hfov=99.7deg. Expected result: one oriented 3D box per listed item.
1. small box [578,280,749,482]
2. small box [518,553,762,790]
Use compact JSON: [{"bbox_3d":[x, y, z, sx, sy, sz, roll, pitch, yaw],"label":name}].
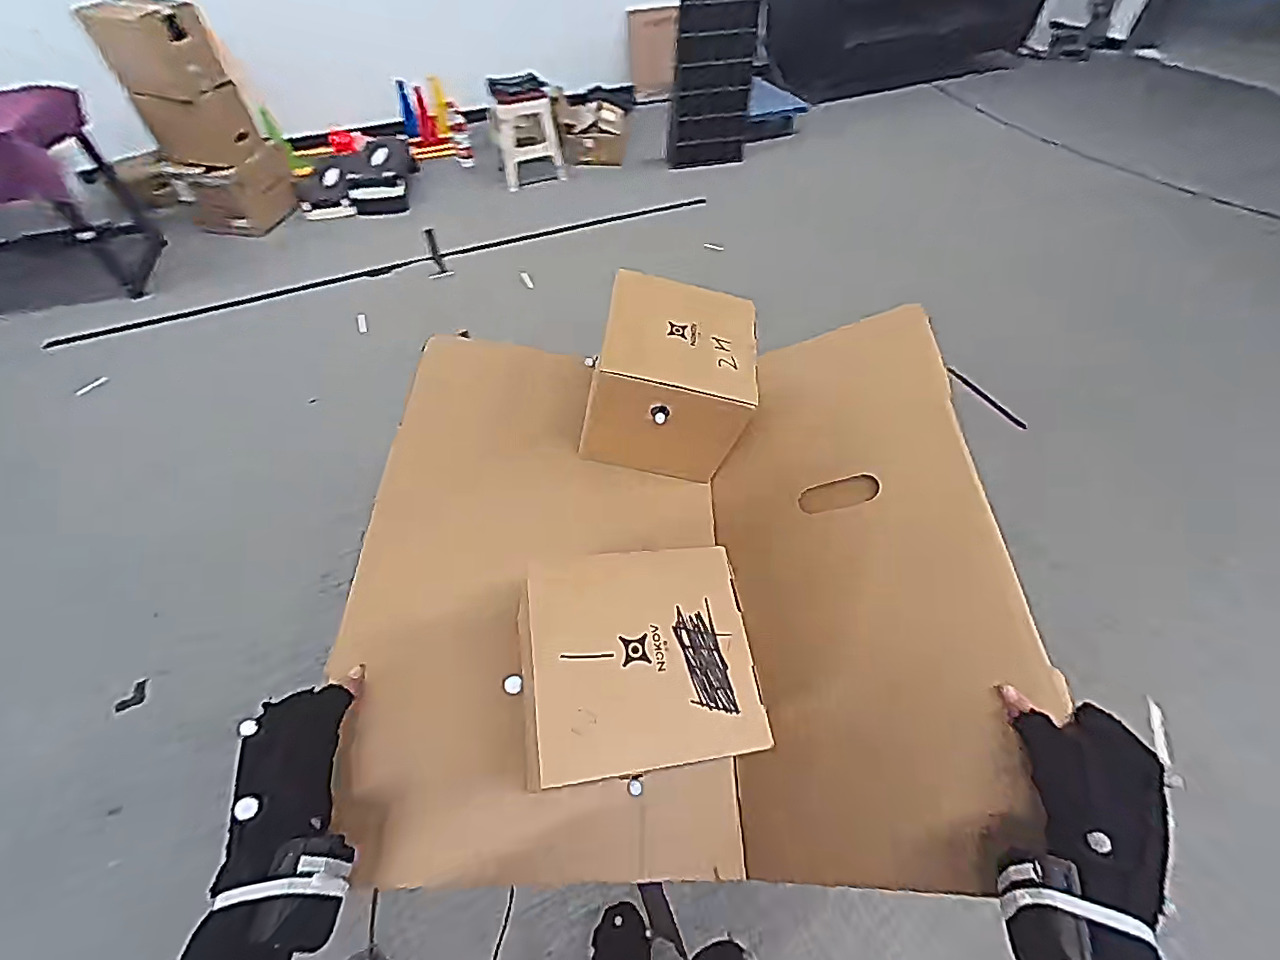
[{"bbox_3d":[0.024,-0.115,0.682,0.179,0.176,0.168,12,58,-8],"label":"small box"},{"bbox_3d":[-0.017,0.177,0.496,0.179,0.176,0.168,-2,61,-15],"label":"small box"}]
